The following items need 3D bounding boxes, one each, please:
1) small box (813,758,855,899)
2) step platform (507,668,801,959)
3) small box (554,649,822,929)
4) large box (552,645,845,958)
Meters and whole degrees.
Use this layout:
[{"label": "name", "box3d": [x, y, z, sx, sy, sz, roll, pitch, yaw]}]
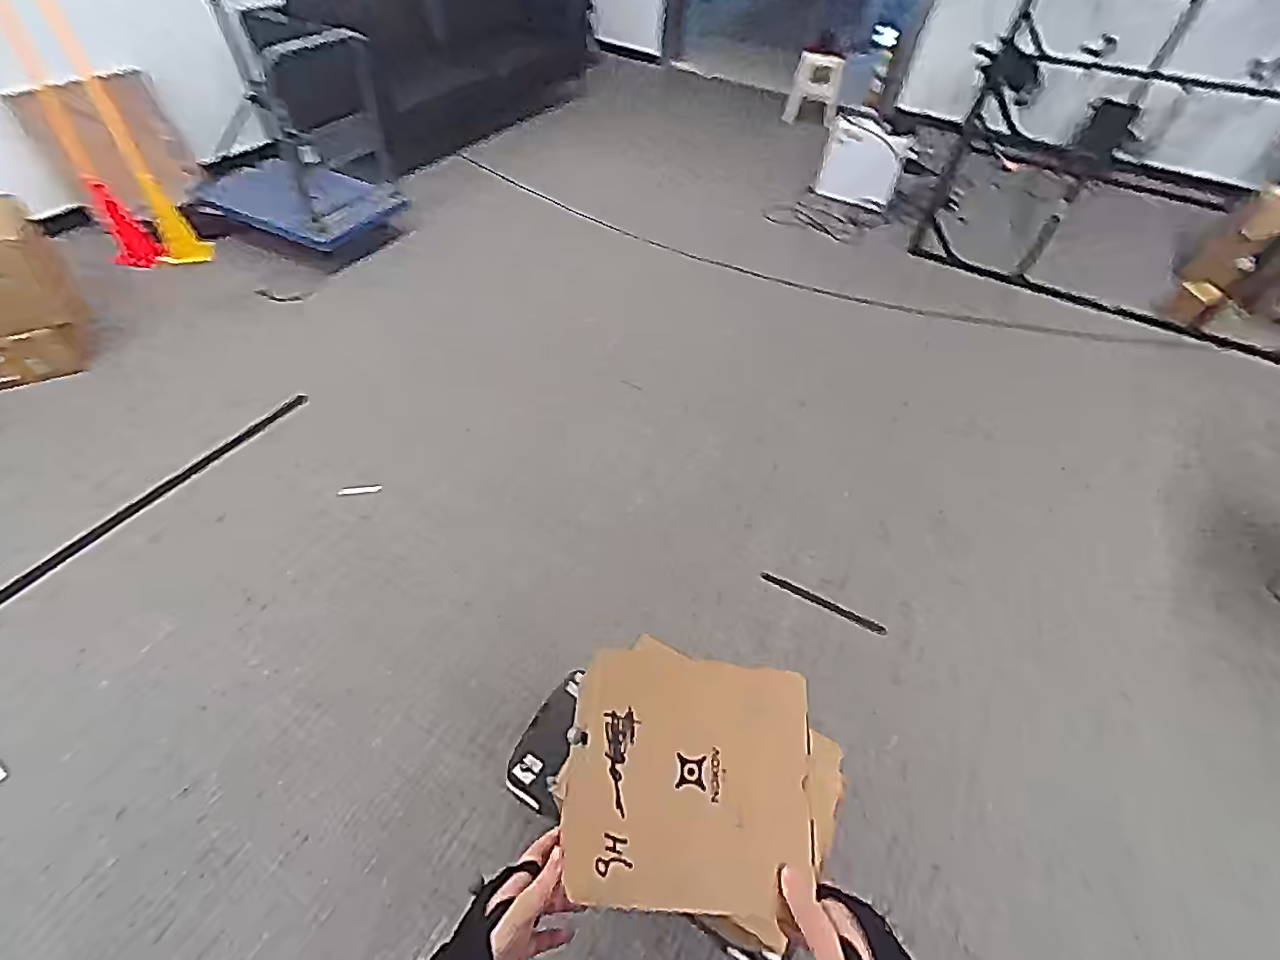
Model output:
[{"label": "small box", "box3d": [0.174, 0.478, 0.774, 0.179, 0.176, 0.168, 25, 53, 17]}, {"label": "step platform", "box3d": [0.033, 0.727, 1.188, 0.684, 0.204, 0.286, 30, 54, 21]}, {"label": "small box", "box3d": [0.030, 0.254, 0.460, 0.179, 0.176, 0.168, 10, 59, -8]}, {"label": "large box", "box3d": [0.101, 0.584, 1.002, 0.408, 0.320, 0.320, 25, 52, 17]}]
